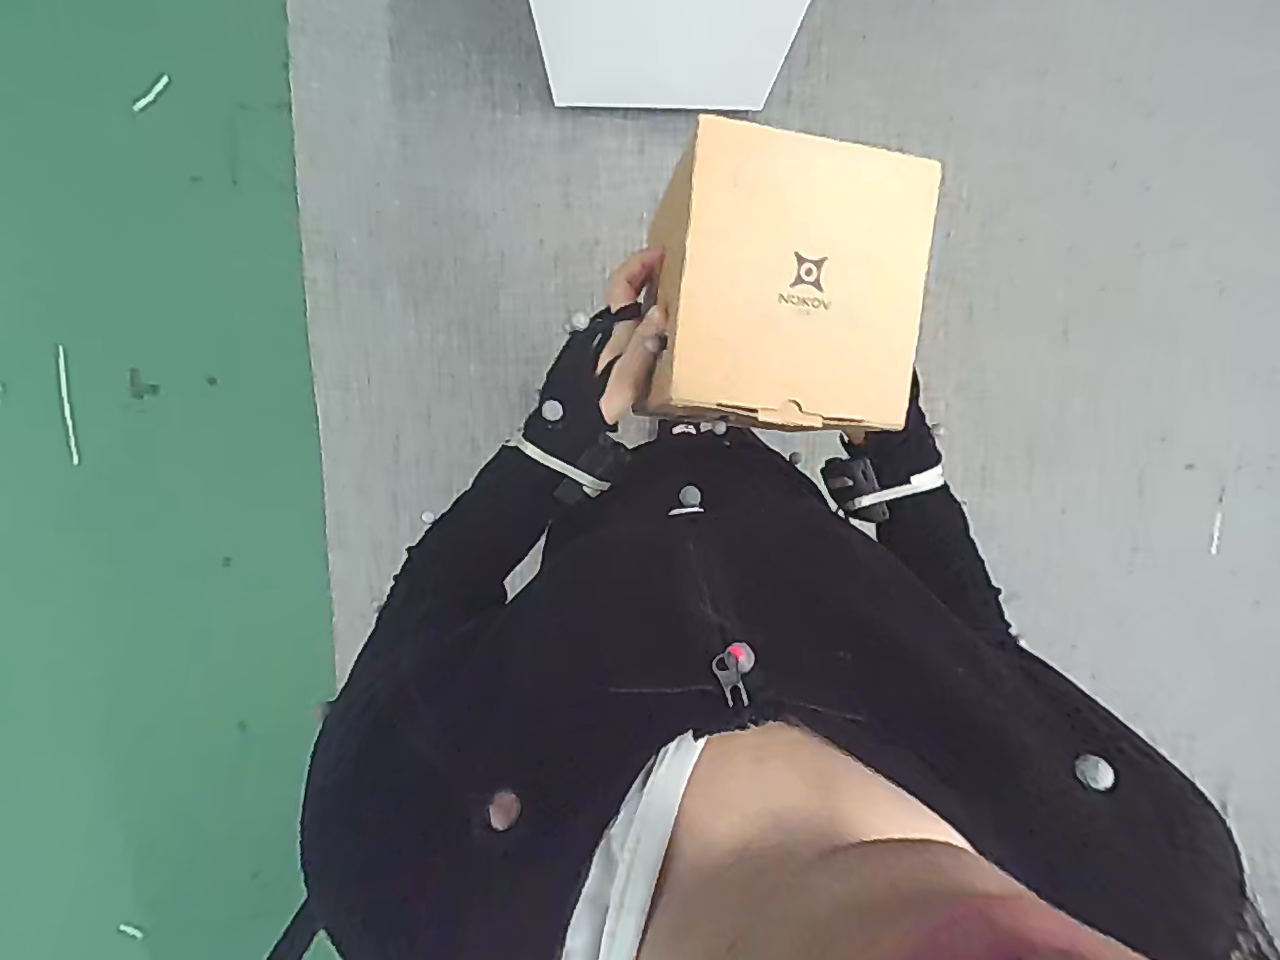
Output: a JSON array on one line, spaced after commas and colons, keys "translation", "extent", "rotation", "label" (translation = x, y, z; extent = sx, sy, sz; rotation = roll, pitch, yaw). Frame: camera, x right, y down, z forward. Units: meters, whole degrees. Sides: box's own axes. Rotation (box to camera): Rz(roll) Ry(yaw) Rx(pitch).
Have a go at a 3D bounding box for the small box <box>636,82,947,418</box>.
[{"translation": [0.092, -0.144, 0.407], "extent": [0.168, 0.176, 0.179], "rotation": [4, 94, -8], "label": "small box"}]
